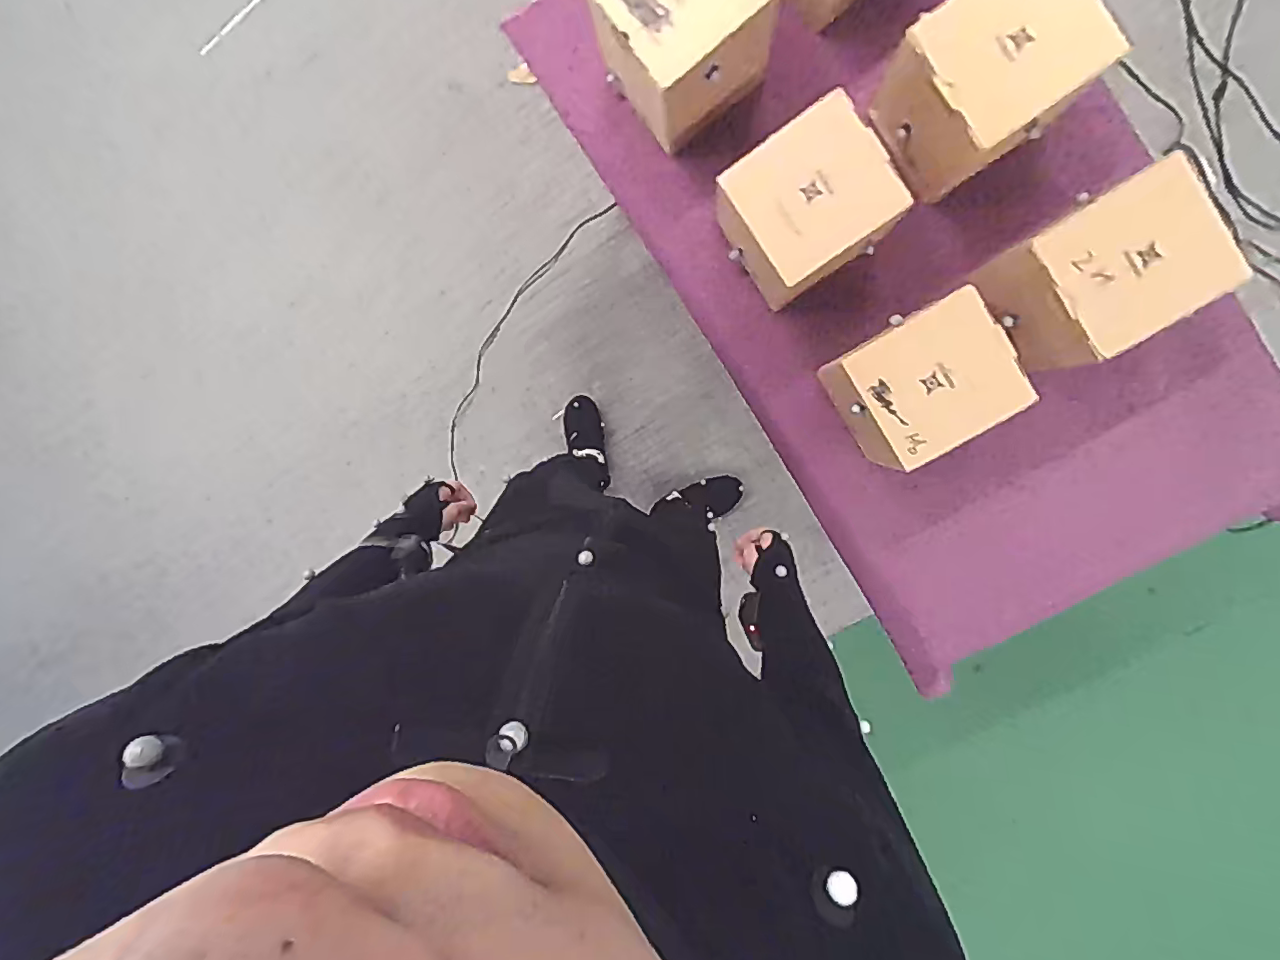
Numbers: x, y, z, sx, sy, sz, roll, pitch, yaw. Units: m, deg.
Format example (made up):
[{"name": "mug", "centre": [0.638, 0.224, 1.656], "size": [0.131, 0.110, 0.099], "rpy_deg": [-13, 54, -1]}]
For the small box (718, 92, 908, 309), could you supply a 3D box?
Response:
[{"name": "small box", "centre": [0.219, -0.361, 0.737], "size": [0.179, 0.176, 0.168], "rpy_deg": [-32, 91, 11]}]

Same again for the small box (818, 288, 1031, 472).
[{"name": "small box", "centre": [0.371, -0.129, 0.742], "size": [0.179, 0.176, 0.168], "rpy_deg": [-31, 91, 10]}]

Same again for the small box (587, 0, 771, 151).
[{"name": "small box", "centre": [0.056, -0.596, 0.729], "size": [0.179, 0.176, 0.168], "rpy_deg": [-36, 91, 9]}]

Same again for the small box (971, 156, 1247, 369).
[{"name": "small box", "centre": [0.576, -0.259, 0.694], "size": [0.179, 0.176, 0.168], "rpy_deg": [-31, 91, 12]}]

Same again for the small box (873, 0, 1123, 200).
[{"name": "small box", "centre": [0.432, -0.502, 0.688], "size": [0.179, 0.176, 0.168], "rpy_deg": [-33, 91, 12]}]
